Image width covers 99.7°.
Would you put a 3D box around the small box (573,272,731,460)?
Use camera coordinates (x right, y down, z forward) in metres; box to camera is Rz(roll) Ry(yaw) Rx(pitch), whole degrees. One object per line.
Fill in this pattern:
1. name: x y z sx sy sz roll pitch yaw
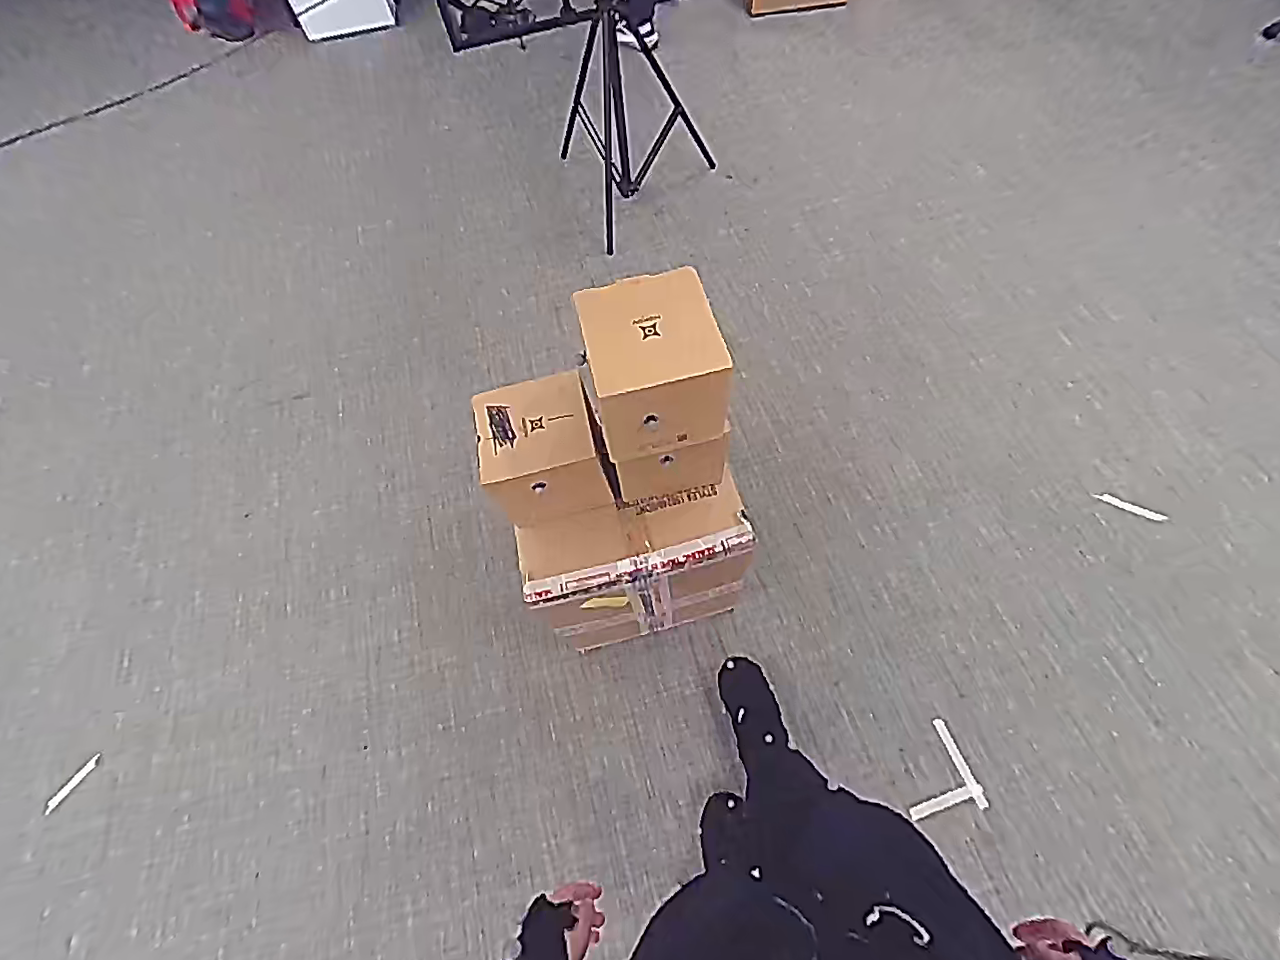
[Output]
1. small box: 0.017 -0.144 0.737 0.168 0.176 0.179 -14 63 -3
